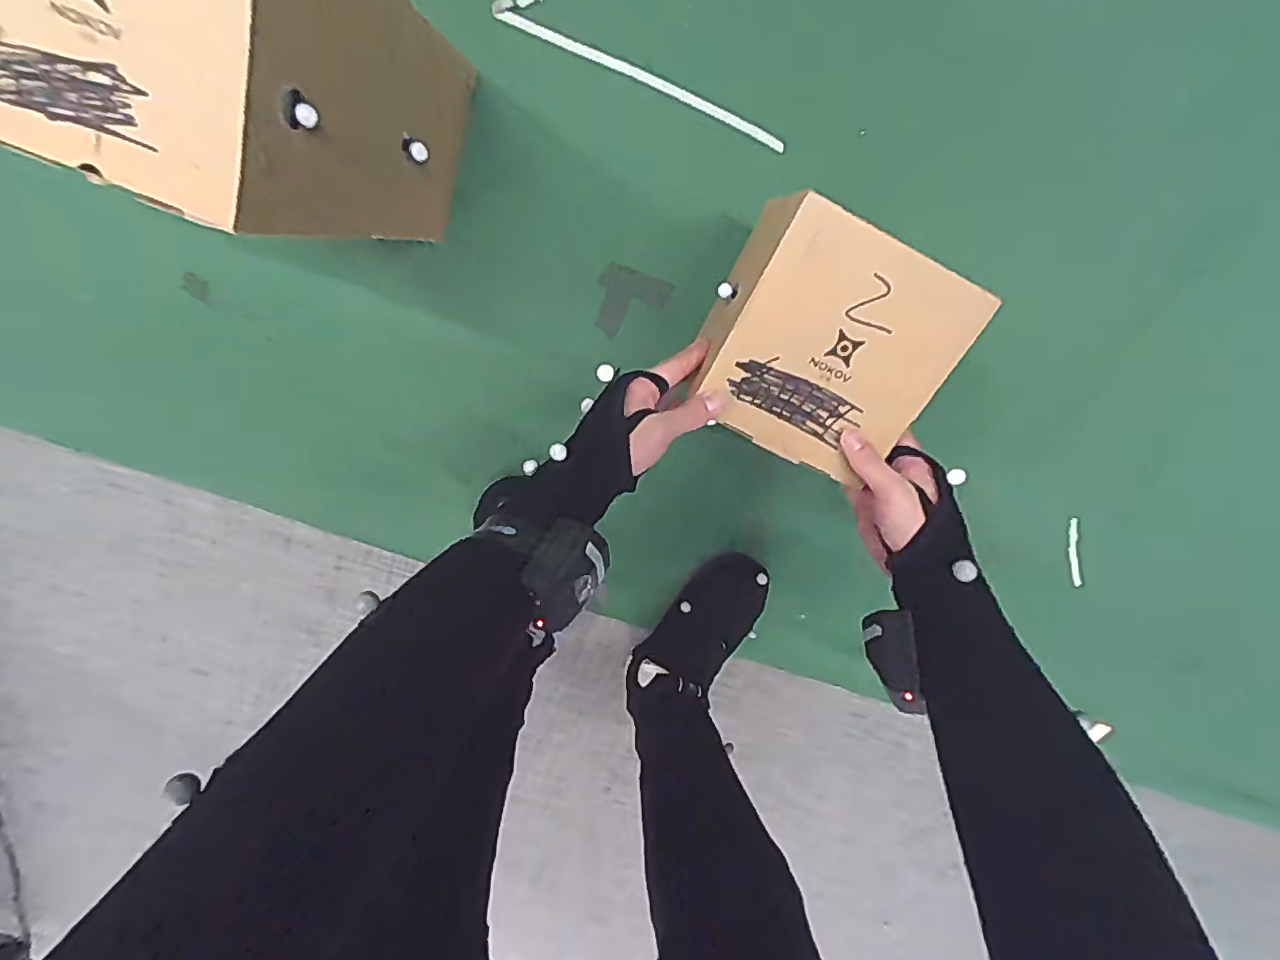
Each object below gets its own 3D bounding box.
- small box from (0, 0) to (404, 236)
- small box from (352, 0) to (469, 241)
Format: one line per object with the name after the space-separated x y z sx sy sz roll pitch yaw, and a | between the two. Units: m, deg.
-0.275 -0.273 0.345 0.168 0.176 0.179 20 112 -8 | small box
-0.272 -0.338 0.496 0.168 0.176 0.179 20 113 -7 | small box
